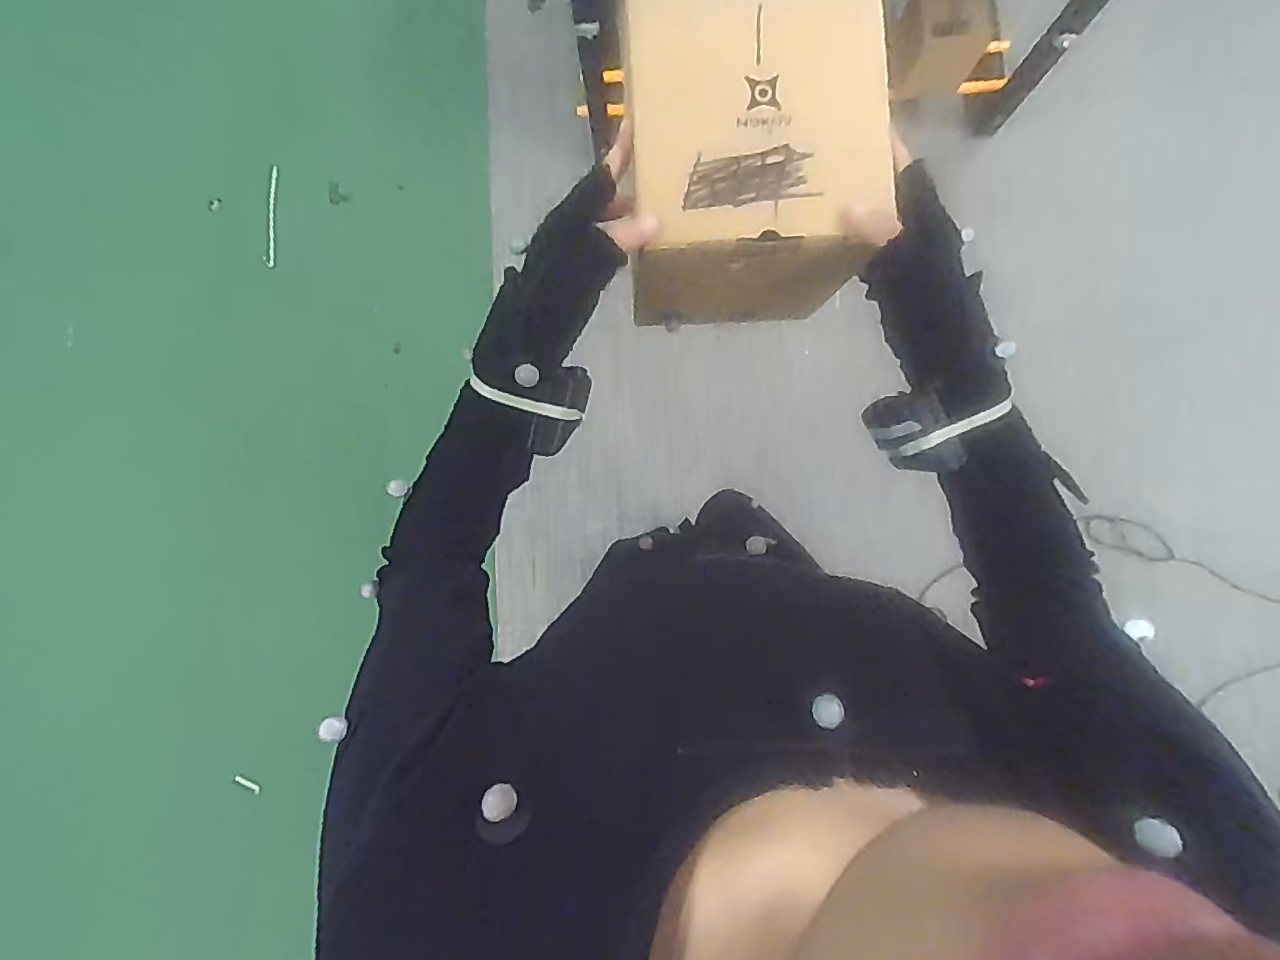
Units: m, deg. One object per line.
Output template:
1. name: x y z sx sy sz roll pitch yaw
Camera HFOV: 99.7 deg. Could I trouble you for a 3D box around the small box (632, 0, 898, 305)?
1. small box: 0.079 -0.247 0.427 0.168 0.176 0.179 -3 88 -2
